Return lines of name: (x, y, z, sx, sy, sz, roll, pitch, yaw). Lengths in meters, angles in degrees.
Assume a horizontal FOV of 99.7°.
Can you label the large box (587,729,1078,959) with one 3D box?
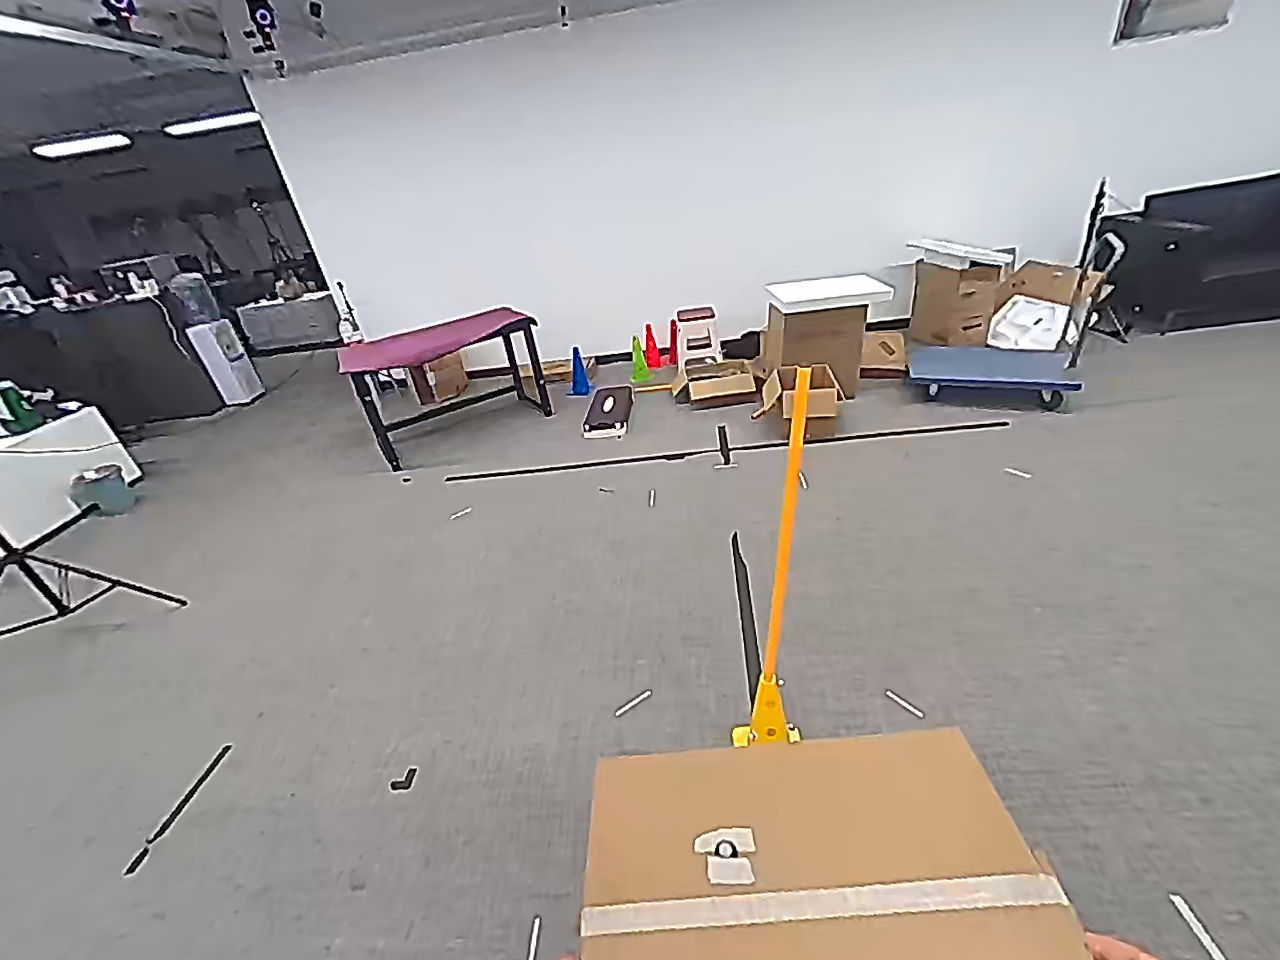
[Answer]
large box: (0.175, 0.507, 0.552, 0.408, 0.320, 0.320, -9, 29, 5)
